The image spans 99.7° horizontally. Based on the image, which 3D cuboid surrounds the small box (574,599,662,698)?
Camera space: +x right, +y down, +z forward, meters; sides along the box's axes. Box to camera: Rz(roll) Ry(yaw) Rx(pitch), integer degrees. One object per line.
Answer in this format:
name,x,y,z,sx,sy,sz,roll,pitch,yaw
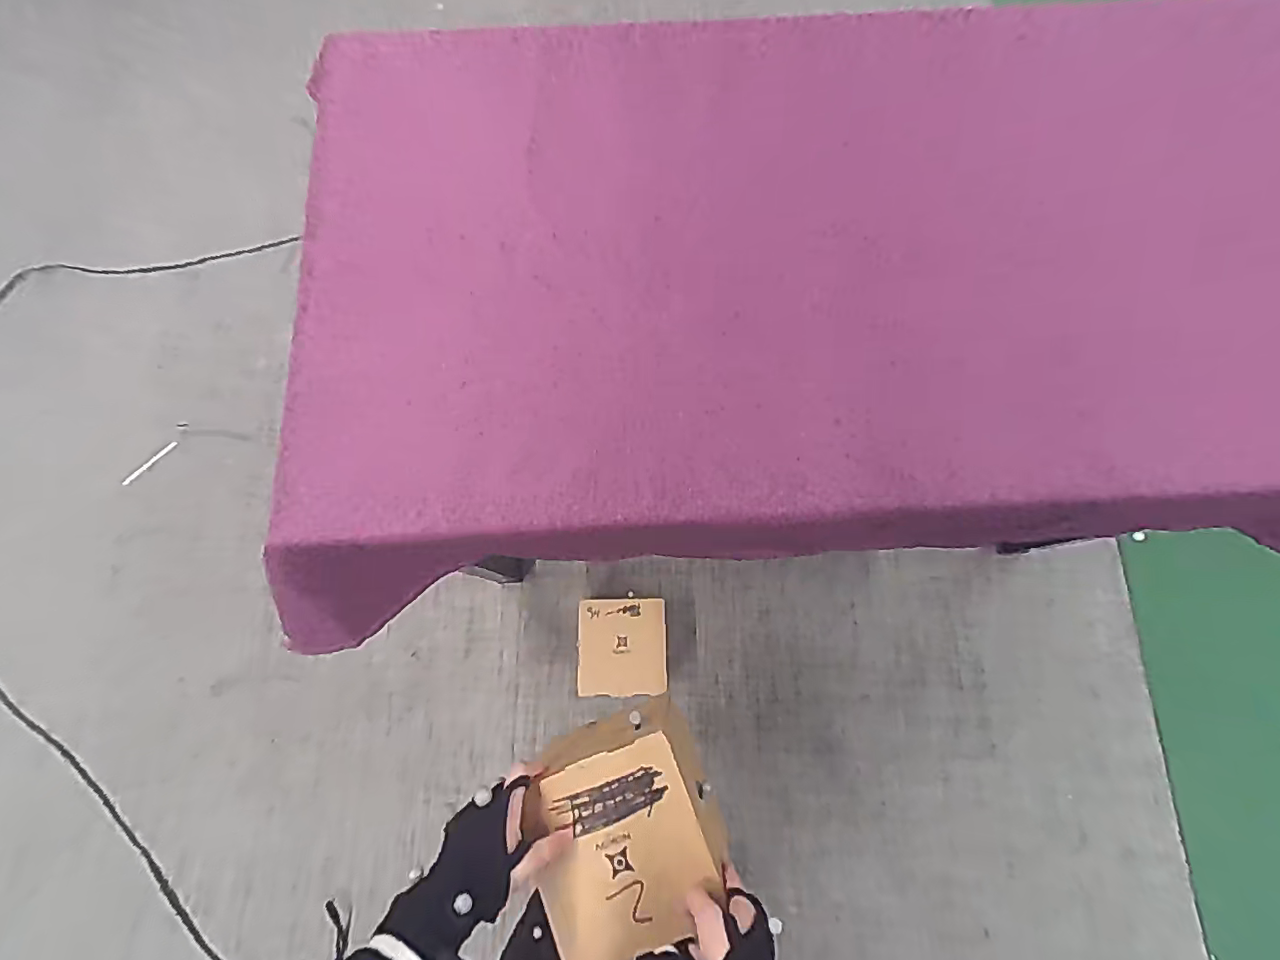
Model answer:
small box,-0.038,0.331,1.087,0.168,0.176,0.179,0,76,1
